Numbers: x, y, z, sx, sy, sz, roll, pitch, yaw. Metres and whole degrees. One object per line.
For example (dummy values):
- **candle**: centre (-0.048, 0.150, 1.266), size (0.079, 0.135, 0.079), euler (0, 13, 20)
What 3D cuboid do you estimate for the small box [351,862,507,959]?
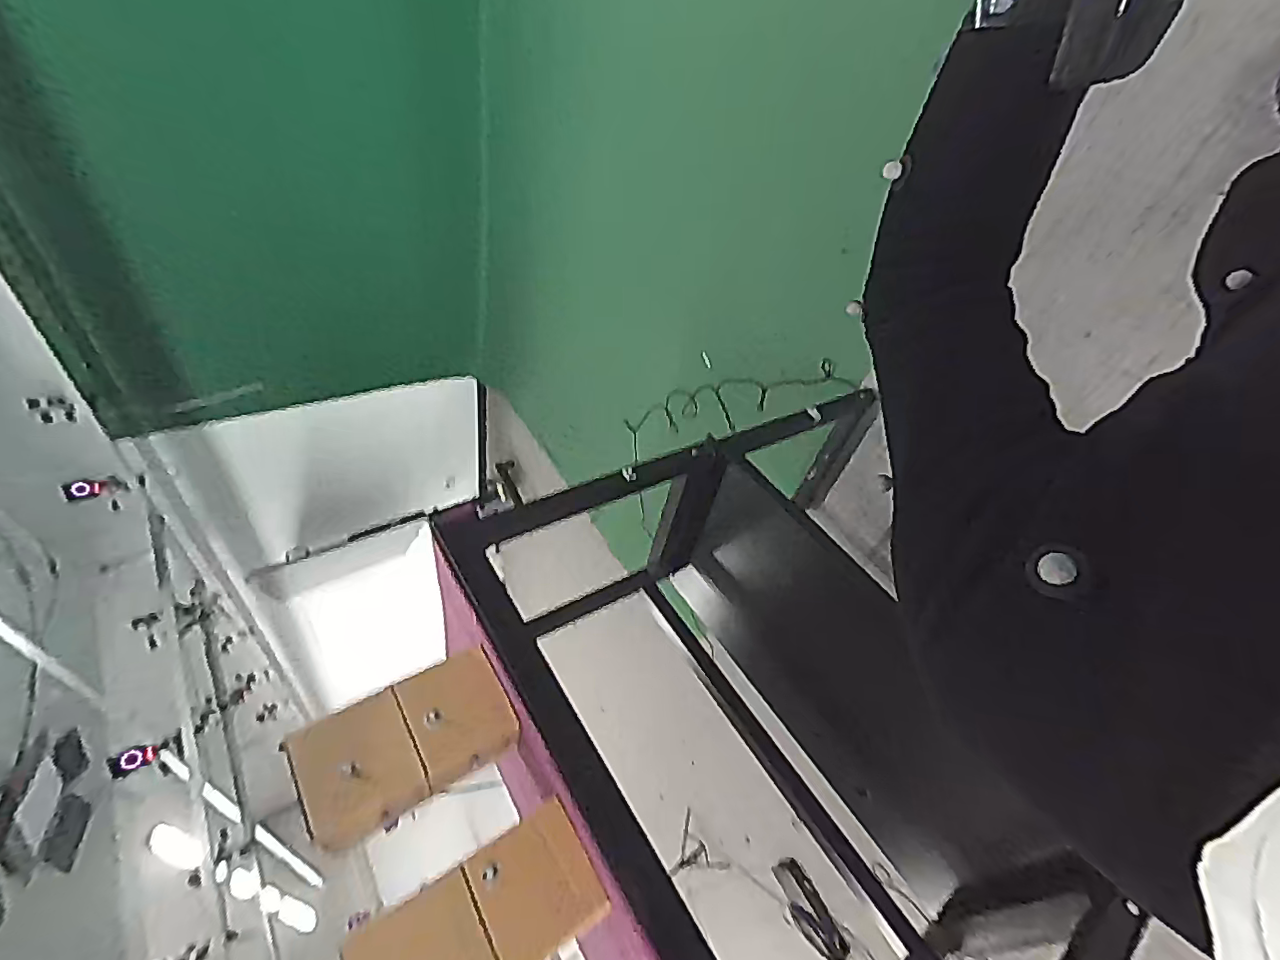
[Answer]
- **small box**: centre (-0.285, 0.700, 0.775), size (0.179, 0.176, 0.168), euler (50, 144, 31)

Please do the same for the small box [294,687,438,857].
- **small box**: centre (-0.455, 0.493, 0.923), size (0.179, 0.176, 0.168), euler (50, 144, 27)

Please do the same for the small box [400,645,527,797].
- **small box**: centre (-0.323, 0.443, 1.006), size (0.179, 0.176, 0.168), euler (52, 145, 27)

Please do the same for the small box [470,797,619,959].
- **small box**: centre (-0.151, 0.650, 0.856), size (0.179, 0.176, 0.168), euler (49, 144, 31)
